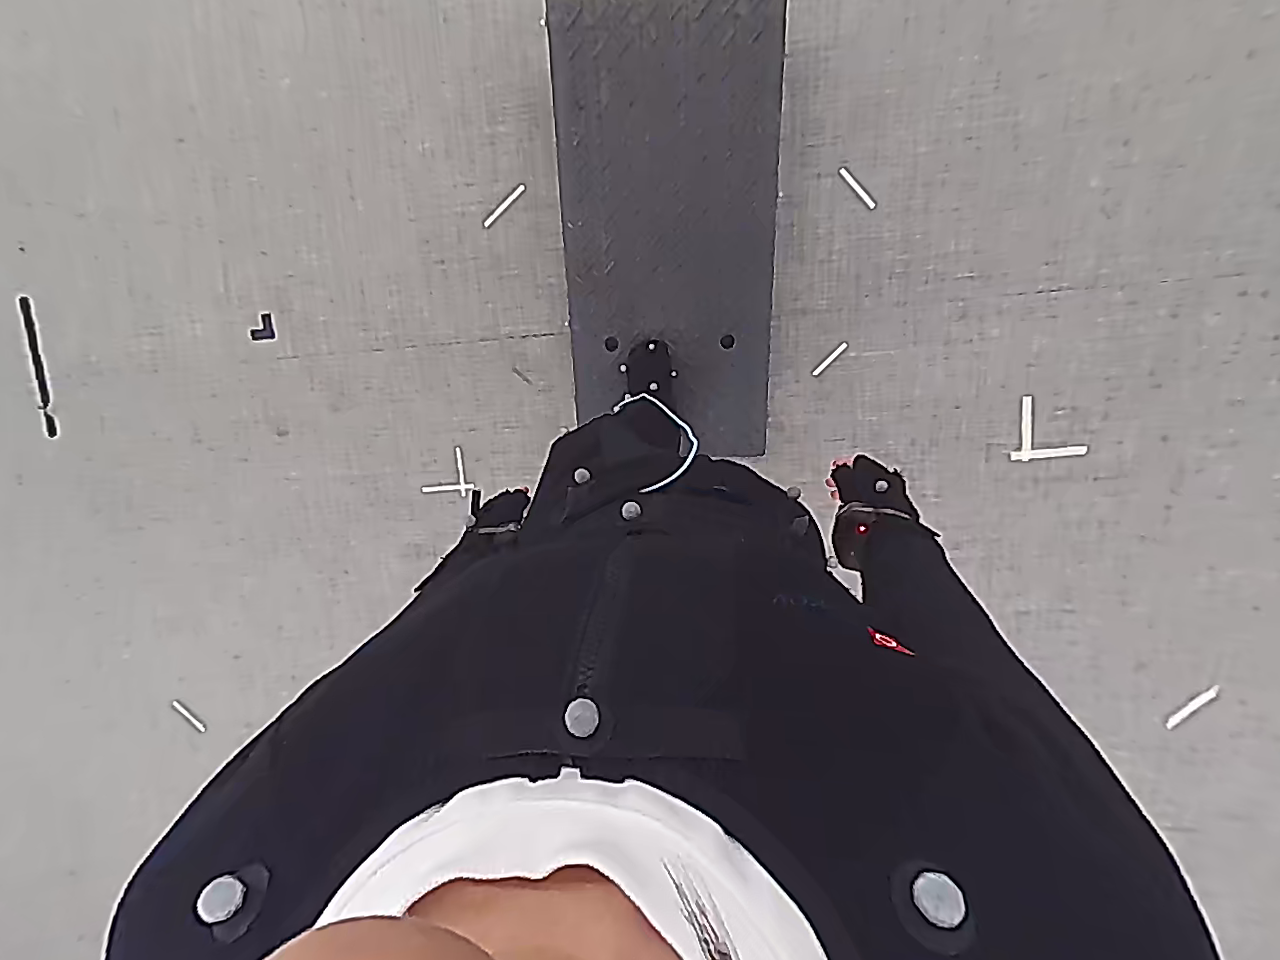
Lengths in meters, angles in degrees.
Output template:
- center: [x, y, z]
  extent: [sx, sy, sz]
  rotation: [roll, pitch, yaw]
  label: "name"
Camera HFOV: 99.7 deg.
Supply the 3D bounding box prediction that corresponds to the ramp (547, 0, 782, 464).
- center: [0.079, -0.521, 1.276]
  extent: [0.509, 0.206, 0.991]
  rotation: [-3, 99, 6]
  label: "ramp"
